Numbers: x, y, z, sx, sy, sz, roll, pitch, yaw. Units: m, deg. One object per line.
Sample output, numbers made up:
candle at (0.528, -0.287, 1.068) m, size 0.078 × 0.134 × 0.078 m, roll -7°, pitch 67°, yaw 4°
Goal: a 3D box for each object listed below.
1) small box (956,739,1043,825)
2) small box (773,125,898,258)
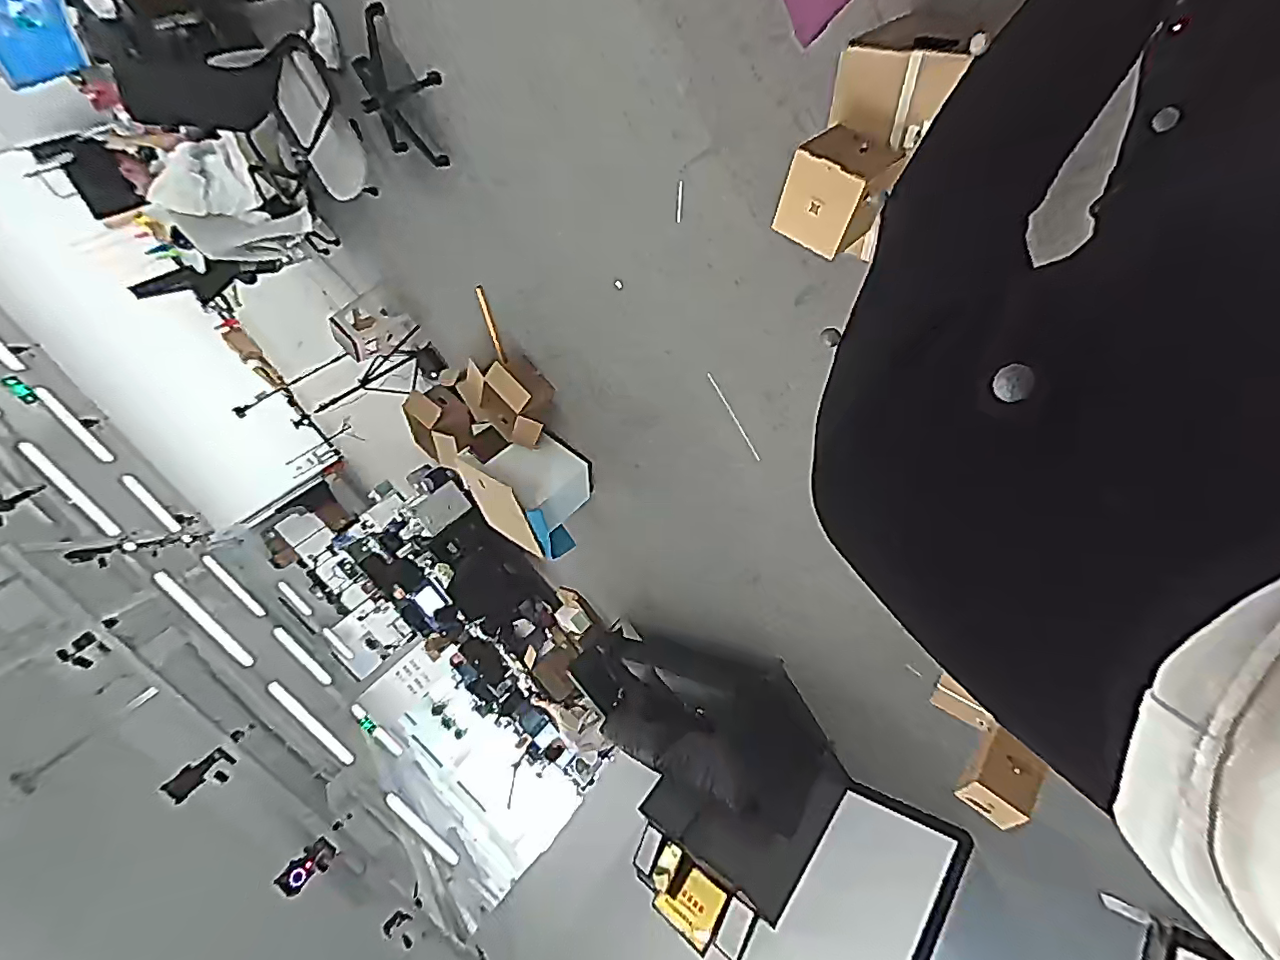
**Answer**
small box at (1.206, 1.011, 1.812) m, size 0.168 × 0.176 × 0.179 m, roll 32°, pitch 147°, yaw 27°
small box at (0.422, -0.624, 1.168) m, size 0.168 × 0.176 × 0.179 m, roll 39°, pitch 151°, yaw 19°
